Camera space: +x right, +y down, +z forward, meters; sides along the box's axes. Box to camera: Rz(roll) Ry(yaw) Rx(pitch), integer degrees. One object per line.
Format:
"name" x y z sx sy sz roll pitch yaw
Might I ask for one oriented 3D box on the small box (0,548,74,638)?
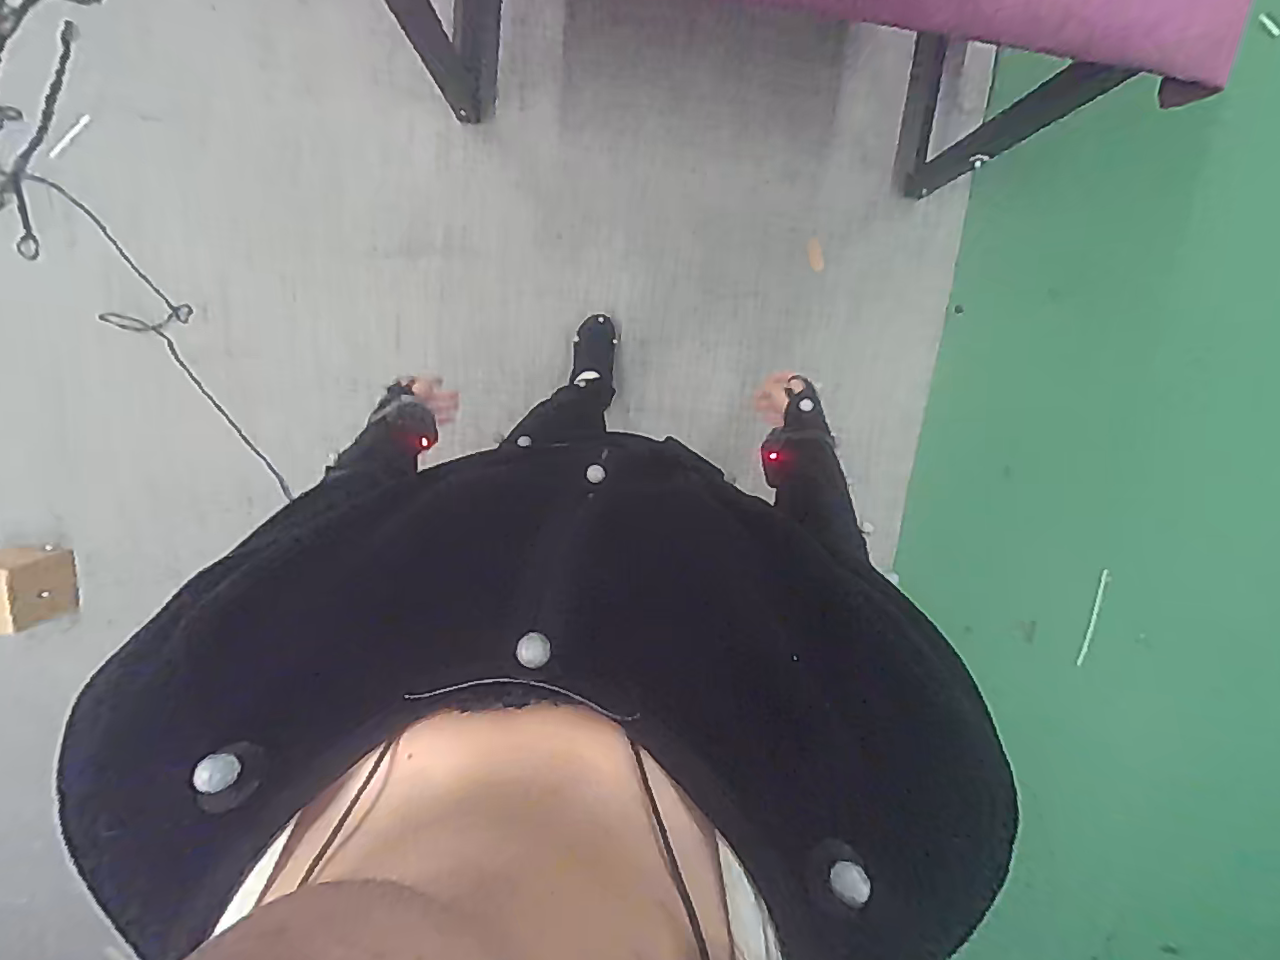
"small box" -1.626 0.283 1.391 0.168 0.176 0.179 5 102 -3
